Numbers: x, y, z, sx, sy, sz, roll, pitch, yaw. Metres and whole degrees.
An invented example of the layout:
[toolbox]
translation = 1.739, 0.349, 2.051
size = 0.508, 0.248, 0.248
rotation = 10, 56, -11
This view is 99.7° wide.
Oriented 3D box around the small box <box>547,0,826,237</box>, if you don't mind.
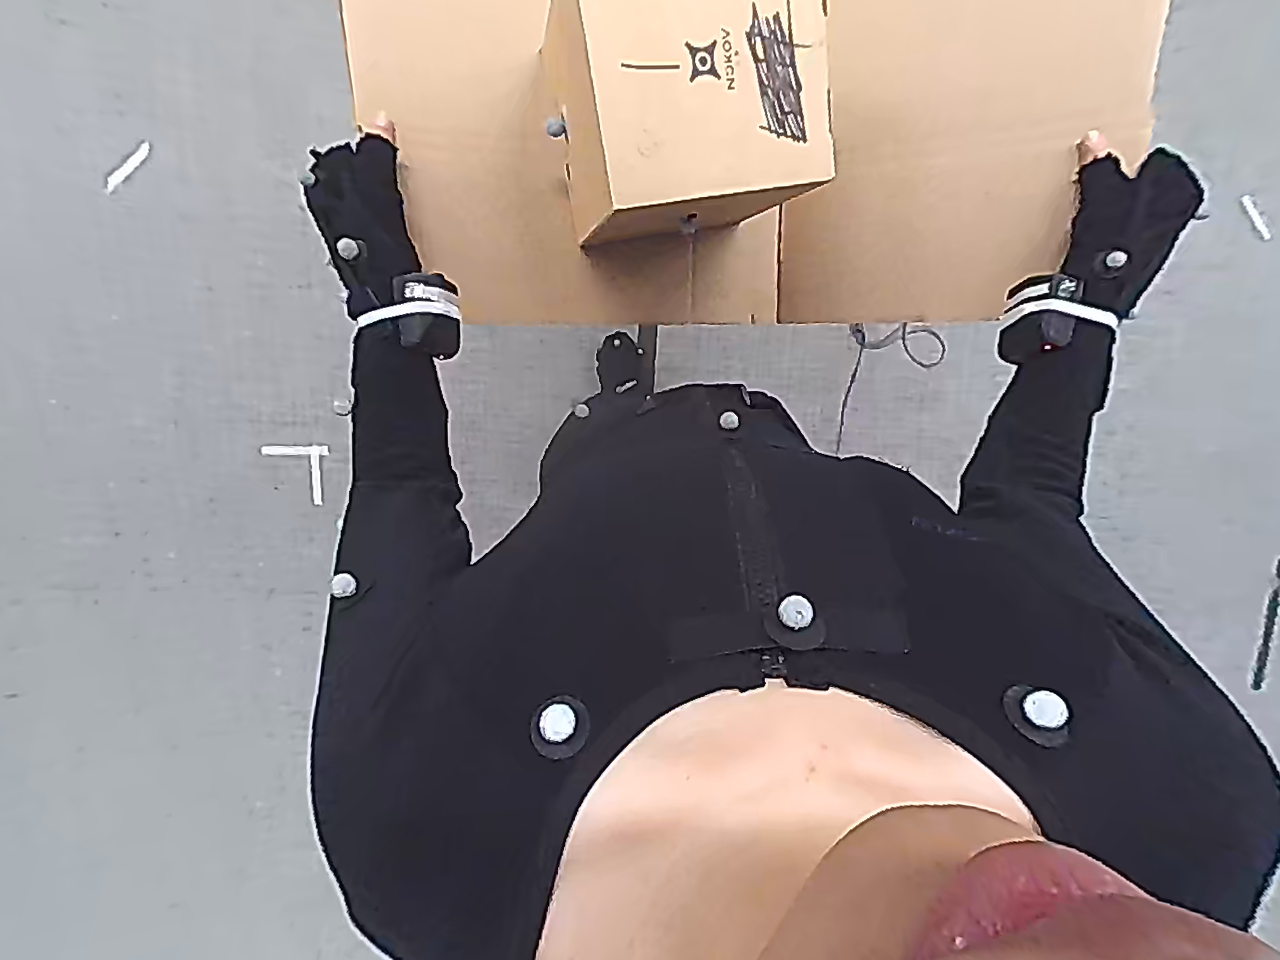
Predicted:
[small box]
translation = 0.029, -0.312, 0.450
size = 0.179, 0.176, 0.168
rotation = -13, 107, -11
